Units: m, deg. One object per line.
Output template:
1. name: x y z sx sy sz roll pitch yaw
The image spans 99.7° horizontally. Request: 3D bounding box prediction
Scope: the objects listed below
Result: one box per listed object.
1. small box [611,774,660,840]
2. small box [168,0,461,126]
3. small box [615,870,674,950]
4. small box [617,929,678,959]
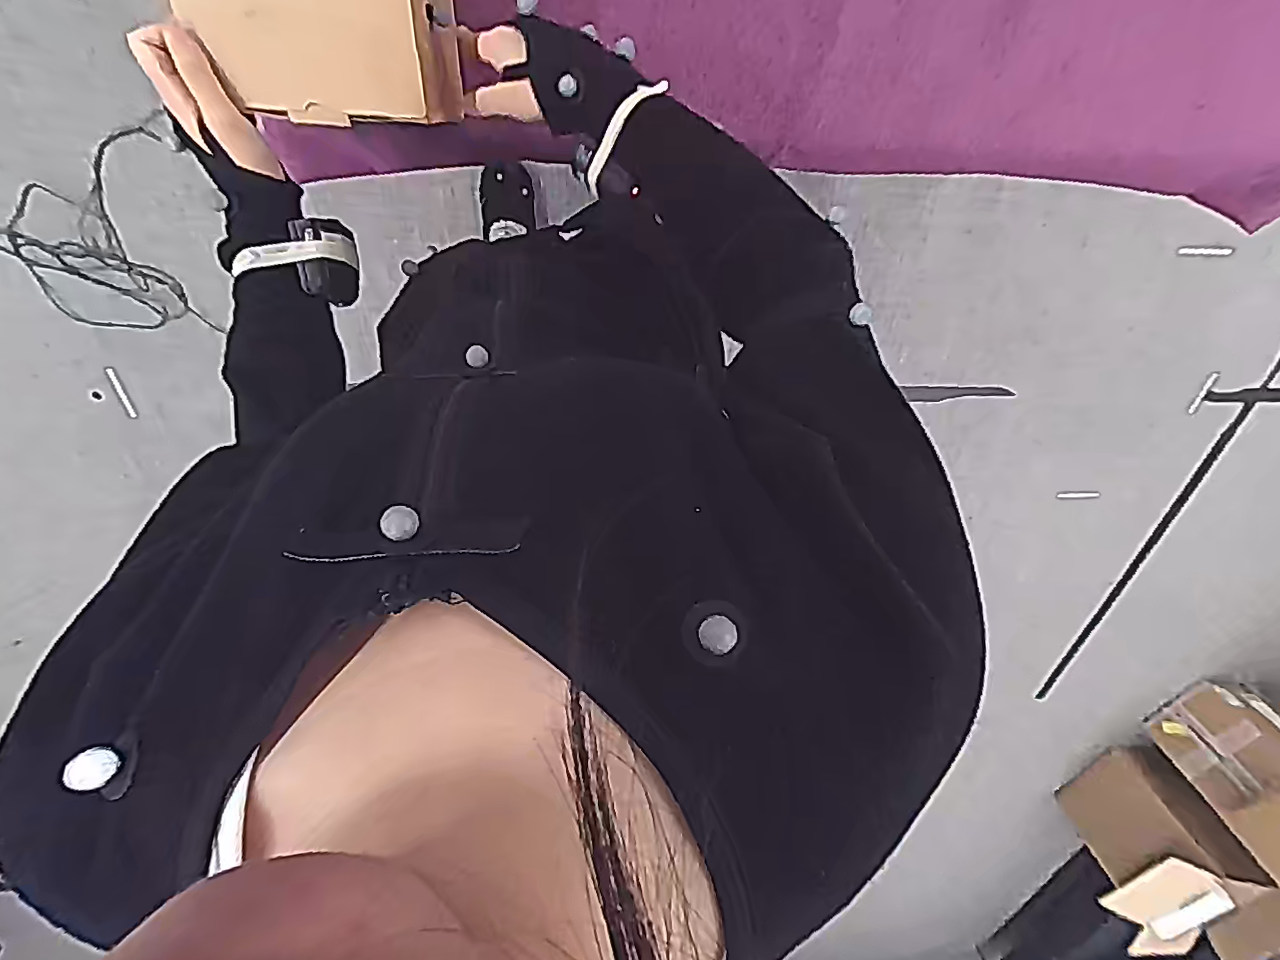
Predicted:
1. small box: -0.022 1.258 2.087 0.179 0.176 0.168 -1 123 -4
2. small box: -0.247 -0.395 0.429 0.168 0.176 0.179 -1 125 -6
3. small box: 0.009 1.442 1.816 0.179 0.176 0.168 1 124 -7
4. small box: 0.023 1.533 1.683 0.179 0.176 0.168 1 123 -7
